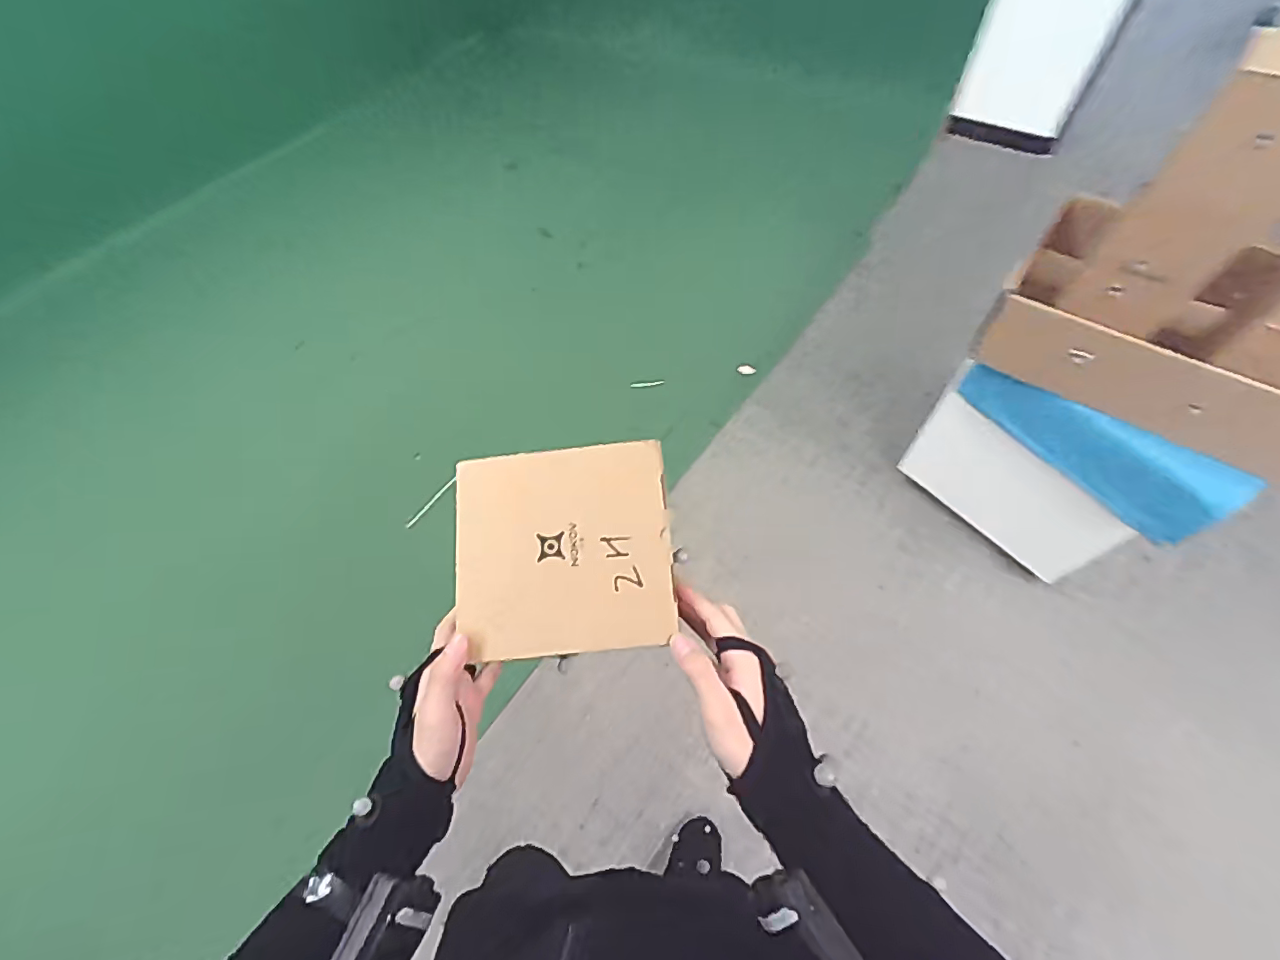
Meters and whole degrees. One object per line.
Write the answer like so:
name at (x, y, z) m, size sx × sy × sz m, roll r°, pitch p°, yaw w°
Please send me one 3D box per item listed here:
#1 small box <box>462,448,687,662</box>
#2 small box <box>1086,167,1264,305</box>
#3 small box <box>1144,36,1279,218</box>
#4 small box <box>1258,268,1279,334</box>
small box at (-0.050, 0.082, 0.511) m, size 0.179 × 0.176 × 0.168 m, roll -6°, pitch 72°, yaw 3°
small box at (0.953, -0.451, 0.967) m, size 0.168 × 0.176 × 0.179 m, roll 32°, pitch 66°, yaw 21°
small box at (0.942, -0.531, 0.825) m, size 0.179 × 0.176 × 0.168 m, roll 31°, pitch 65°, yaw 22°
small box at (1.173, -0.326, 0.871) m, size 0.168 × 0.176 × 0.179 m, roll 32°, pitch 66°, yaw 22°
